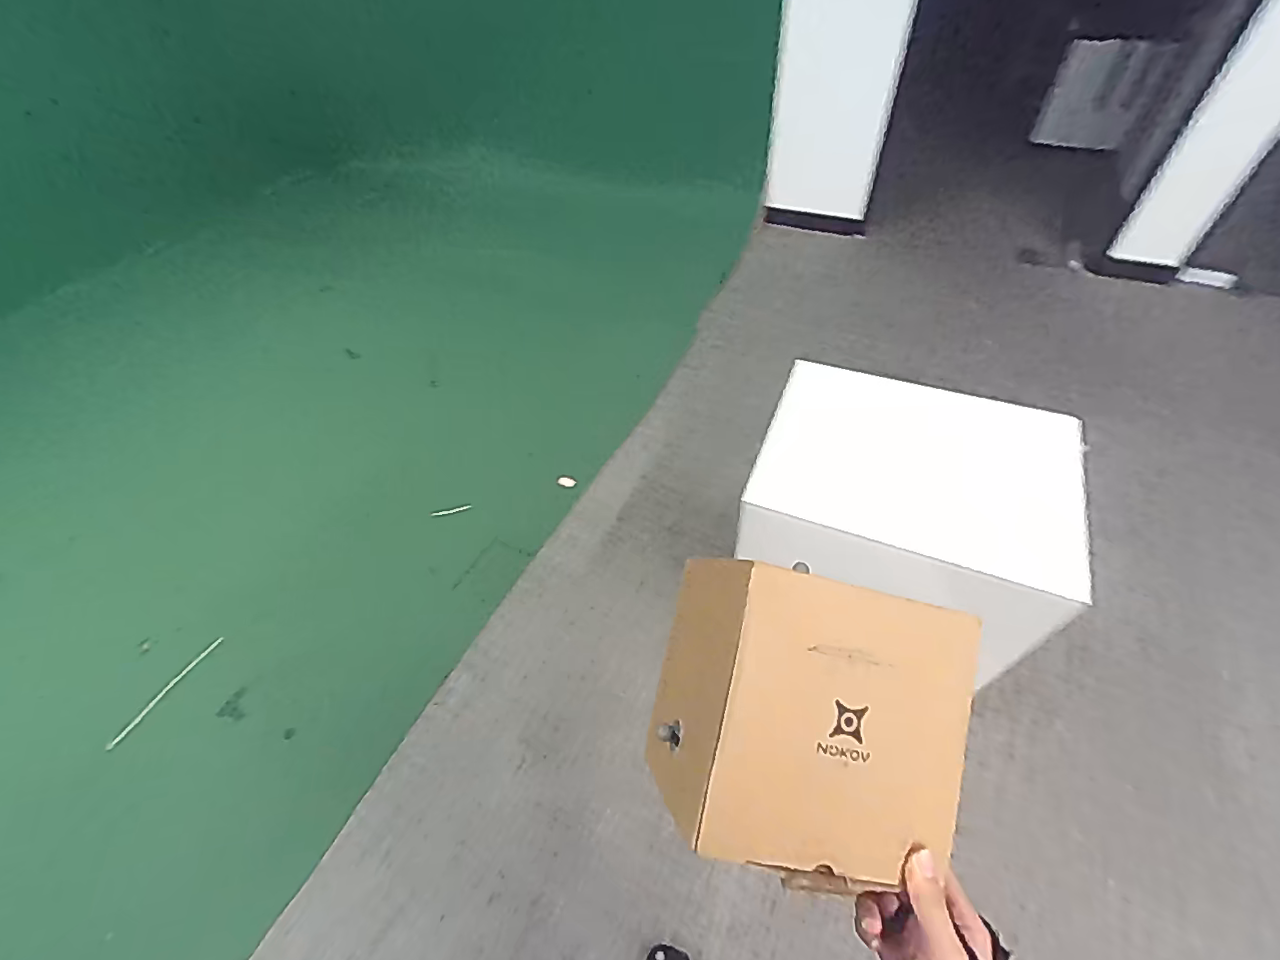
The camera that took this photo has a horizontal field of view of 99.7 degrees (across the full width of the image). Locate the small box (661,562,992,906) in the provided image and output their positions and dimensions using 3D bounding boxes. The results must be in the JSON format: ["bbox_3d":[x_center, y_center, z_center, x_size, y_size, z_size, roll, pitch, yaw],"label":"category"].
[{"bbox_3d":[0.121,0.166,0.411,0.168,0.176,0.179,15,80,-7],"label":"small box"}]
